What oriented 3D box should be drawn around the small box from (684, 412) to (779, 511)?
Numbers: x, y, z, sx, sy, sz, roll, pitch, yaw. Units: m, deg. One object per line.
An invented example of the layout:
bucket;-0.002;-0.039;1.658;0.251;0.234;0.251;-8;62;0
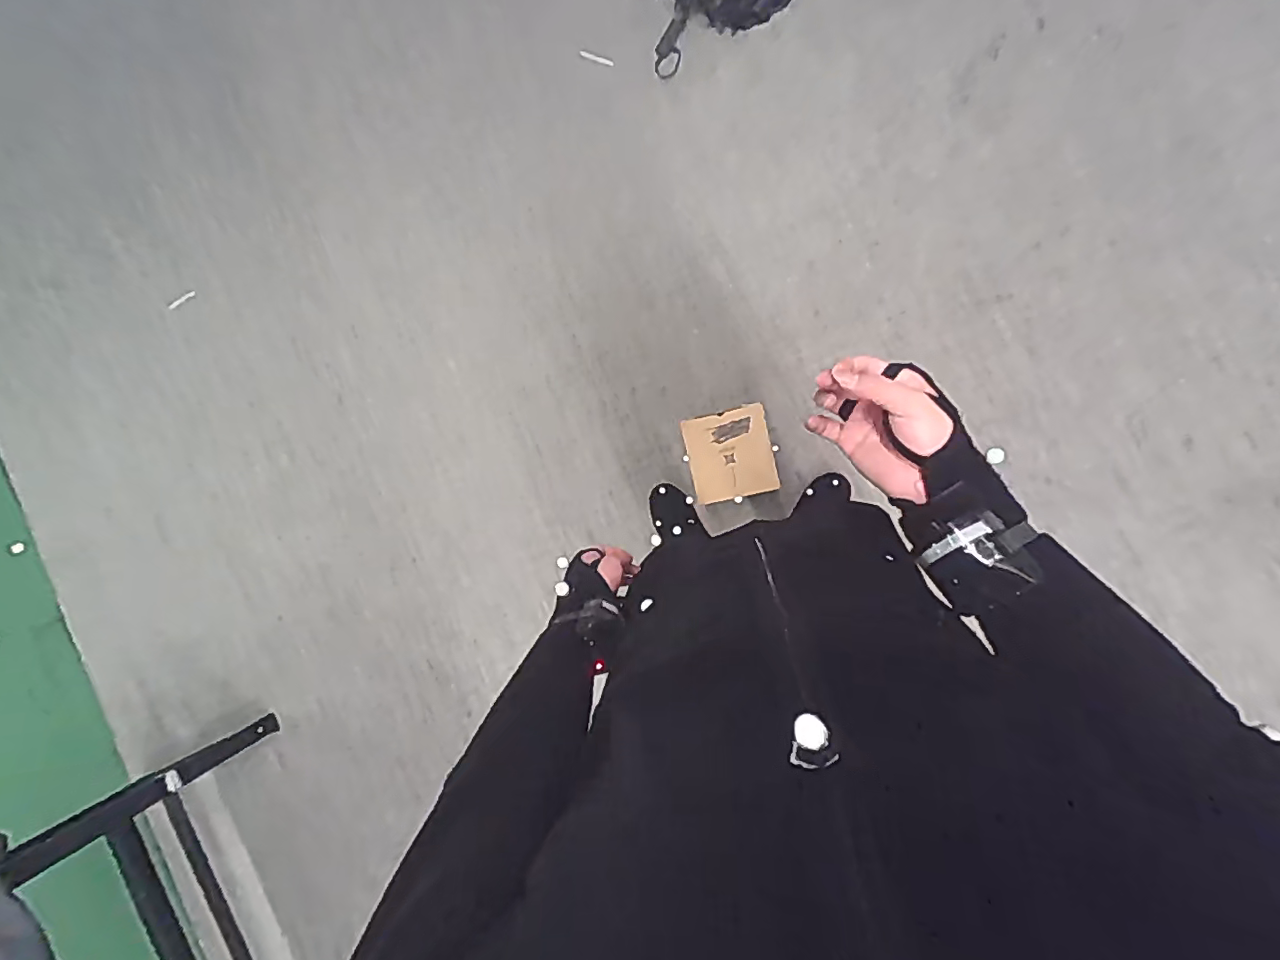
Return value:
small box;0.195;-0.037;1.156;0.168;0.176;0.179;-11;91;11
